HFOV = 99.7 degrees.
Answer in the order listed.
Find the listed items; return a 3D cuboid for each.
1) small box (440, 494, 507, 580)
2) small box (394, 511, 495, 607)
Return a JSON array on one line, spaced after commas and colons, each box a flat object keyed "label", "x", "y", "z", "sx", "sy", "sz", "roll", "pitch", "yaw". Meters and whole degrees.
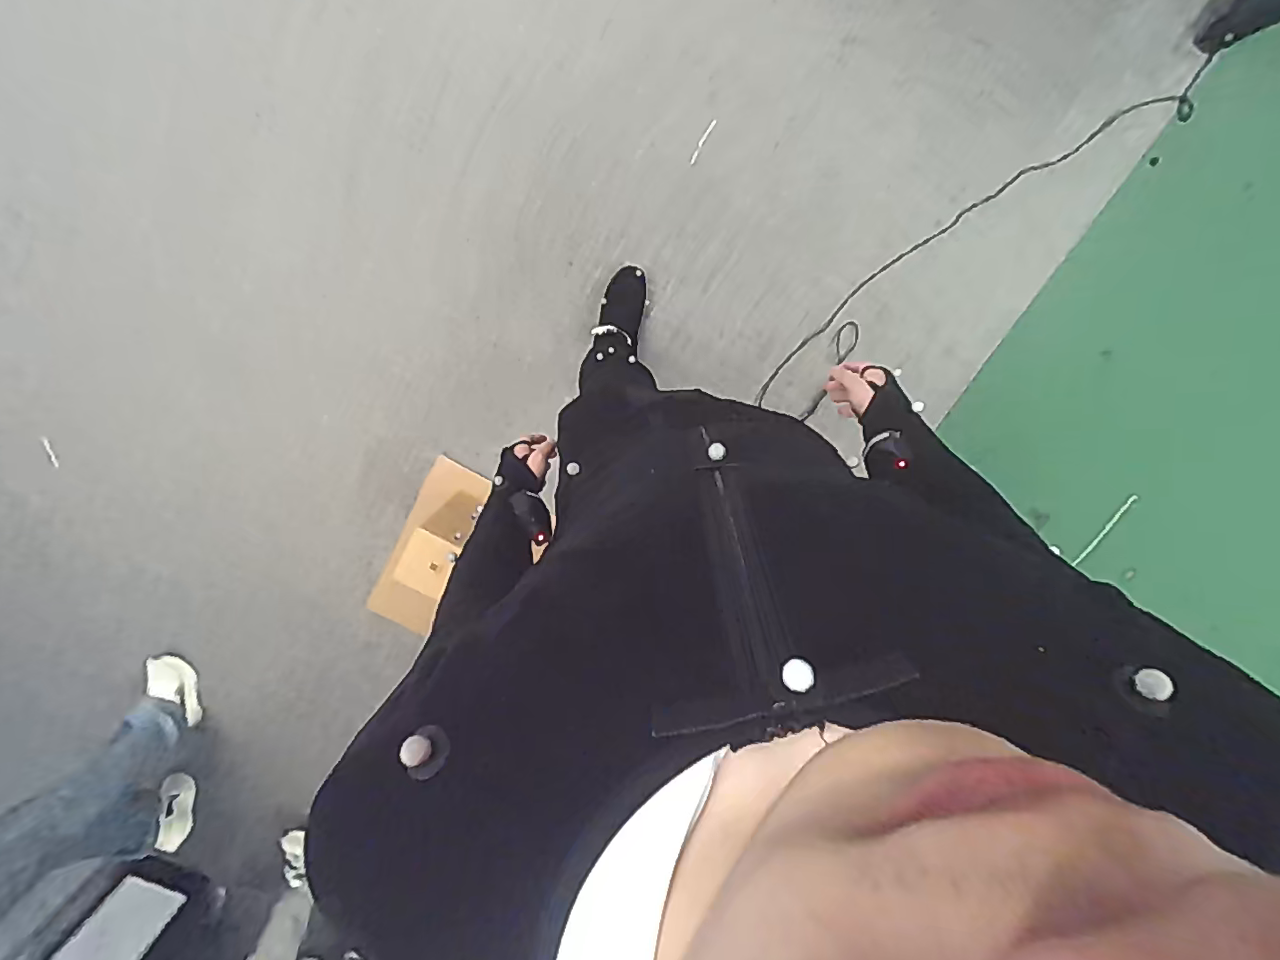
[{"label": "small box", "x": -0.519, "y": 0.162, "z": 1.609, "sx": 0.179, "sy": 0.176, "sz": 0.168, "roll": 30, "pitch": 104, "yaw": -8}, {"label": "small box", "x": -0.516, "y": 0.202, "z": 1.452, "sx": 0.179, "sy": 0.176, "sz": 0.168, "roll": 29, "pitch": 104, "yaw": -9}]
